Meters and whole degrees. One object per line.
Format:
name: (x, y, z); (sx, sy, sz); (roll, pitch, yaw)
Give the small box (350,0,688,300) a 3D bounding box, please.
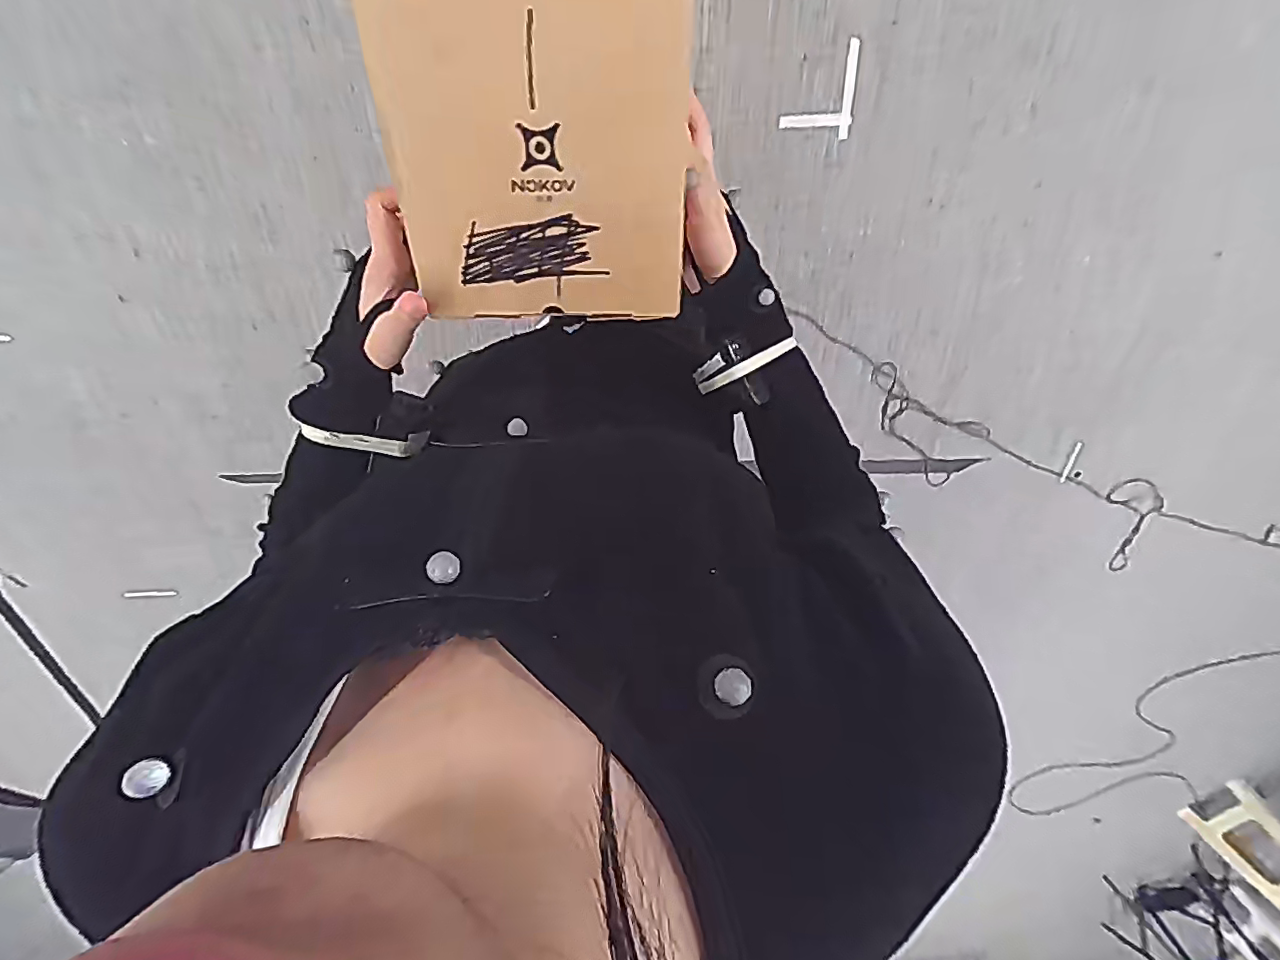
small box: (-0.059, -0.234, 0.358); (0.168, 0.176, 0.179); (-1, 126, -1)
